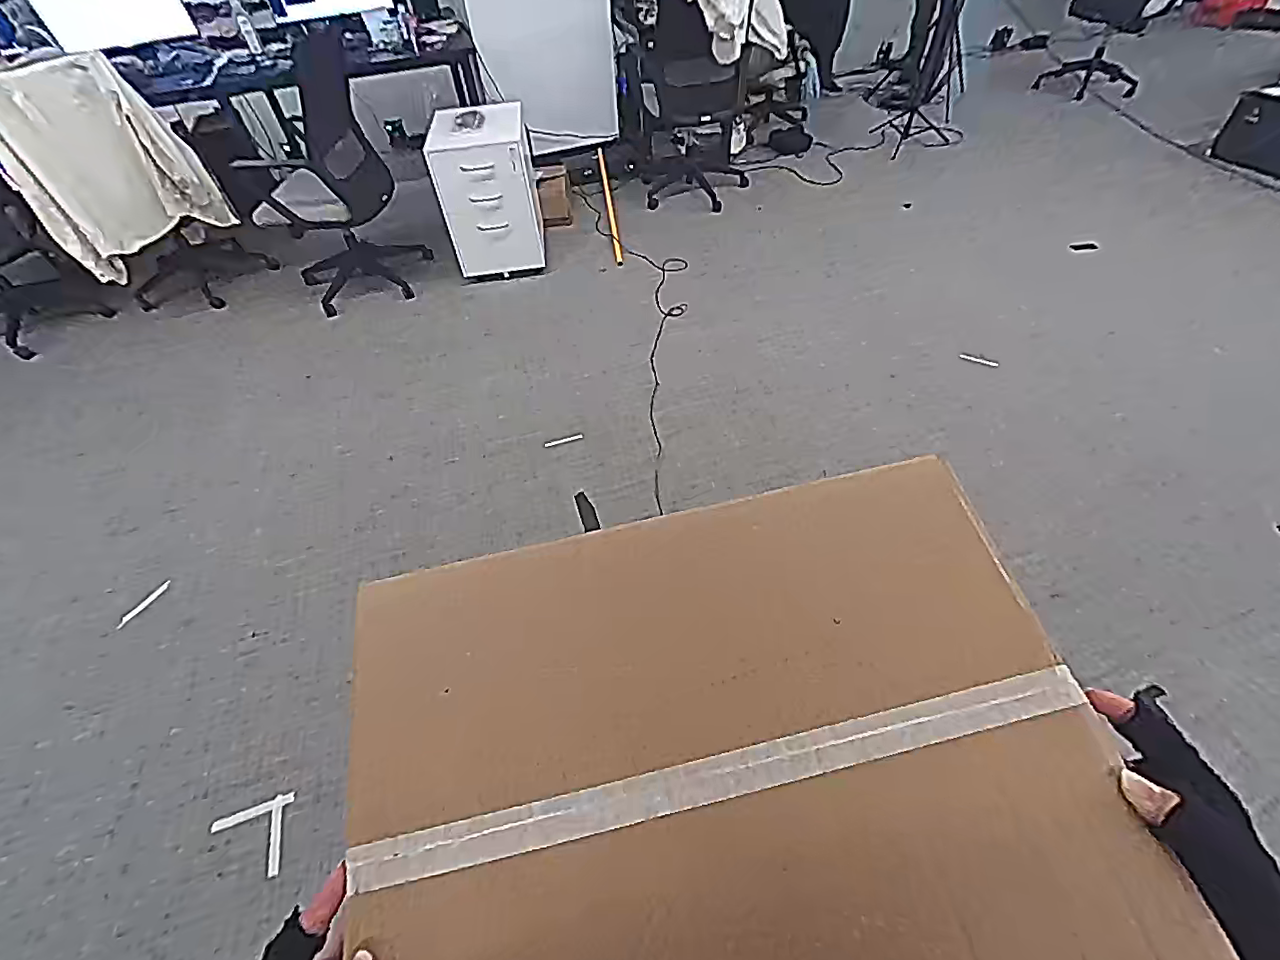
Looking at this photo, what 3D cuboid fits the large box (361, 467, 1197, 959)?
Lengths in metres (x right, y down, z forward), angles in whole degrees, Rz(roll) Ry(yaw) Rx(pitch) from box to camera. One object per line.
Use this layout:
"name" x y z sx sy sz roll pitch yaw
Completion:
"large box" 0.053 0.234 0.436 0.408 0.320 0.320 -13 61 -3
